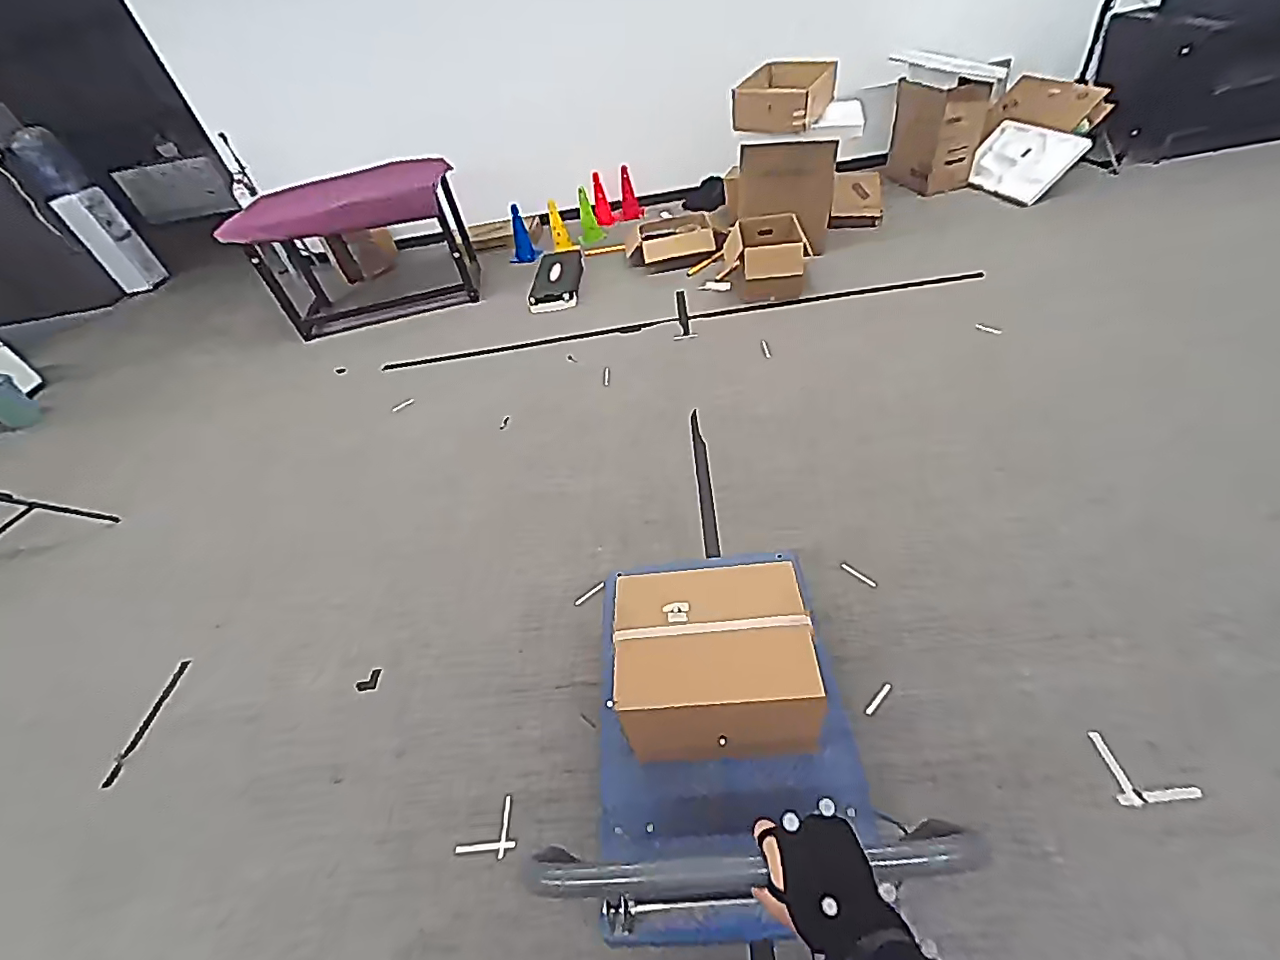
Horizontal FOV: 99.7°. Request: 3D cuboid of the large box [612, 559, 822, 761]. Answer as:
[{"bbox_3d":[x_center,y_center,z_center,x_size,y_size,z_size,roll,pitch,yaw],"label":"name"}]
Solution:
[{"bbox_3d":[0.166,0.413,1.226,0.408,0.320,0.320,-8,43,6],"label":"large box"}]
